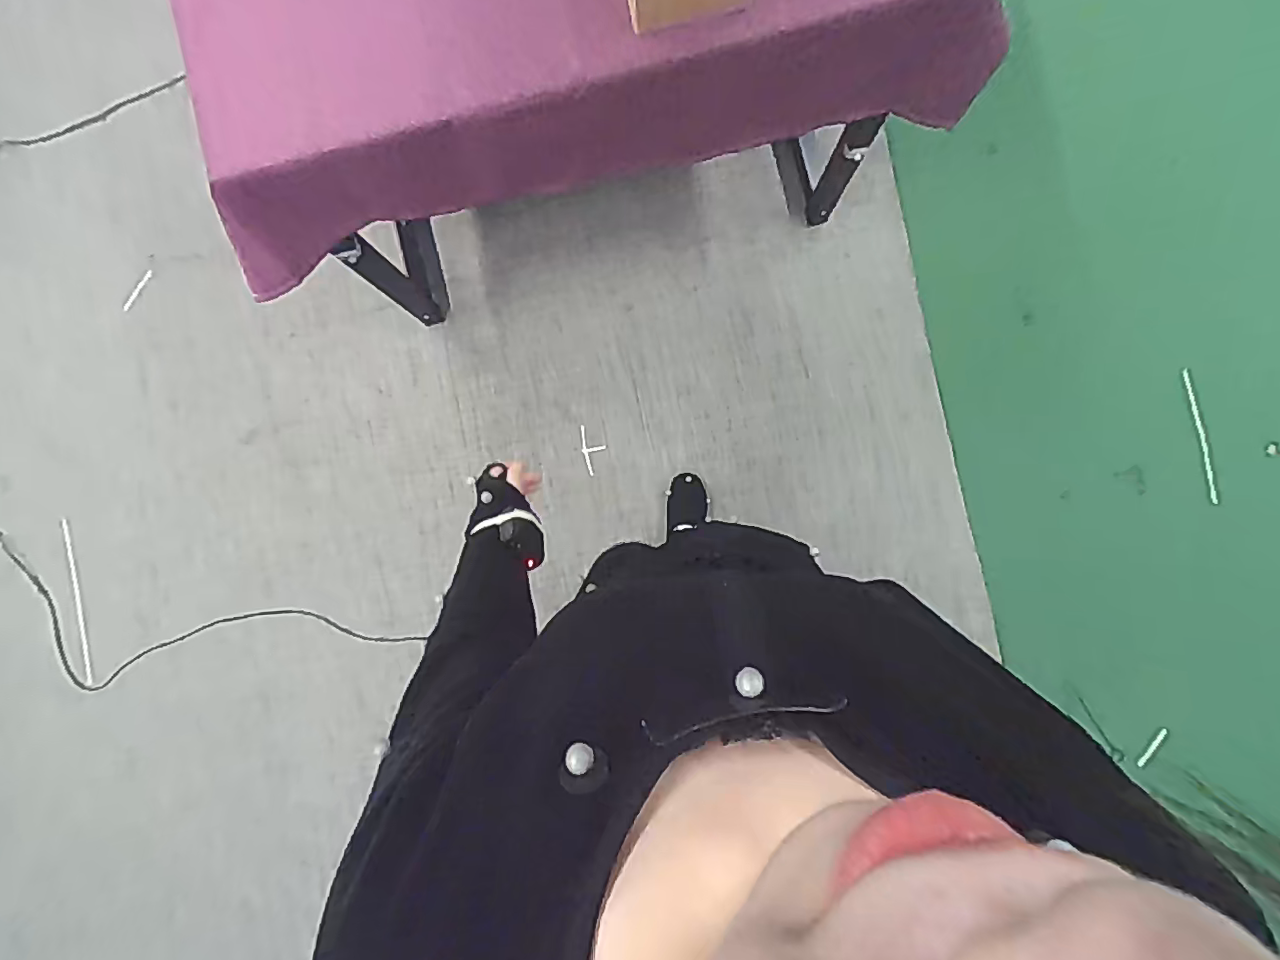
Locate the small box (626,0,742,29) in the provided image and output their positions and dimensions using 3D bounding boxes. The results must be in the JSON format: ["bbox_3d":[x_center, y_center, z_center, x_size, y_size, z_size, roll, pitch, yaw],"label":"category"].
[{"bbox_3d":[0.054,-0.764,0.730,0.179,0.176,0.168,-12,87,2],"label":"small box"}]
